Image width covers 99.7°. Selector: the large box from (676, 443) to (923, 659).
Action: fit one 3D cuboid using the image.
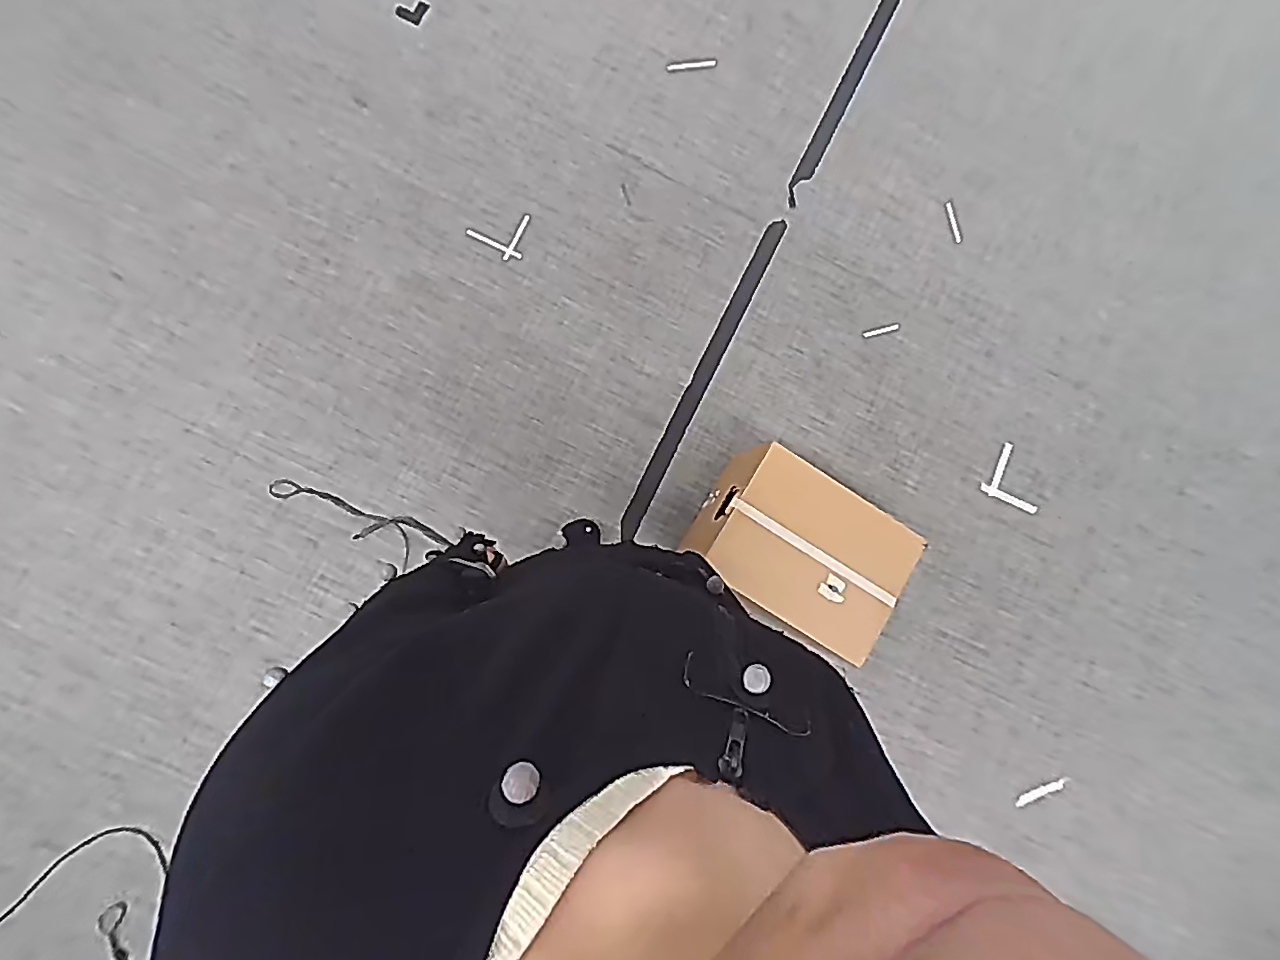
[{"bbox_3d":[0.350,0.160,1.284,0.408,0.320,0.320,32,84,-4],"label":"large box"}]
